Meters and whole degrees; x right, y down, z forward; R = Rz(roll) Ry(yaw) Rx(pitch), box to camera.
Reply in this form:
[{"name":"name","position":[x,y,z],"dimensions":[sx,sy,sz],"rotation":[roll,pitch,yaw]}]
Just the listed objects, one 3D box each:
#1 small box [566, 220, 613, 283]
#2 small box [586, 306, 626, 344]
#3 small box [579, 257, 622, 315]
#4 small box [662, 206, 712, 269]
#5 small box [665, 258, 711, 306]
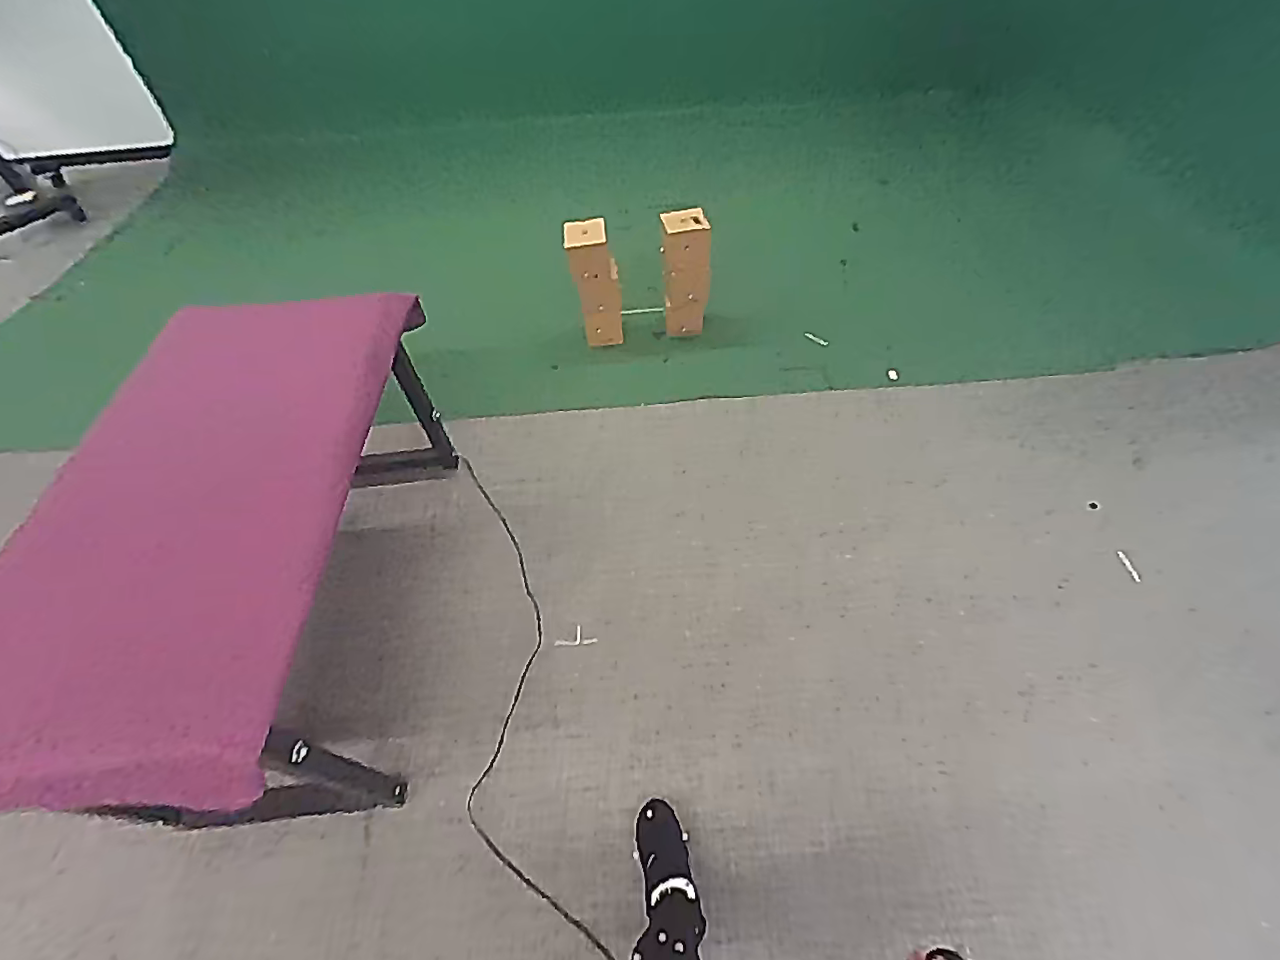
[{"name":"small box","position":[-0.207,-0.941,2.229],"dimensions":[0.168,0.176,0.179],"rotation":[-8,52,2]},{"name":"small box","position":[-0.157,-0.742,2.485],"dimensions":[0.168,0.176,0.179],"rotation":[-6,52,0]},{"name":"small box","position":[-0.173,-0.843,2.357],"dimensions":[0.179,0.176,0.168],"rotation":[-8,52,-2]},{"name":"small box","position":[0.191,-1.003,2.240],"dimensions":[0.179,0.176,0.168],"rotation":[-11,53,-3]},{"name":"small box","position":[0.206,-0.889,2.360],"dimensions":[0.168,0.176,0.179],"rotation":[-13,53,-4]}]
